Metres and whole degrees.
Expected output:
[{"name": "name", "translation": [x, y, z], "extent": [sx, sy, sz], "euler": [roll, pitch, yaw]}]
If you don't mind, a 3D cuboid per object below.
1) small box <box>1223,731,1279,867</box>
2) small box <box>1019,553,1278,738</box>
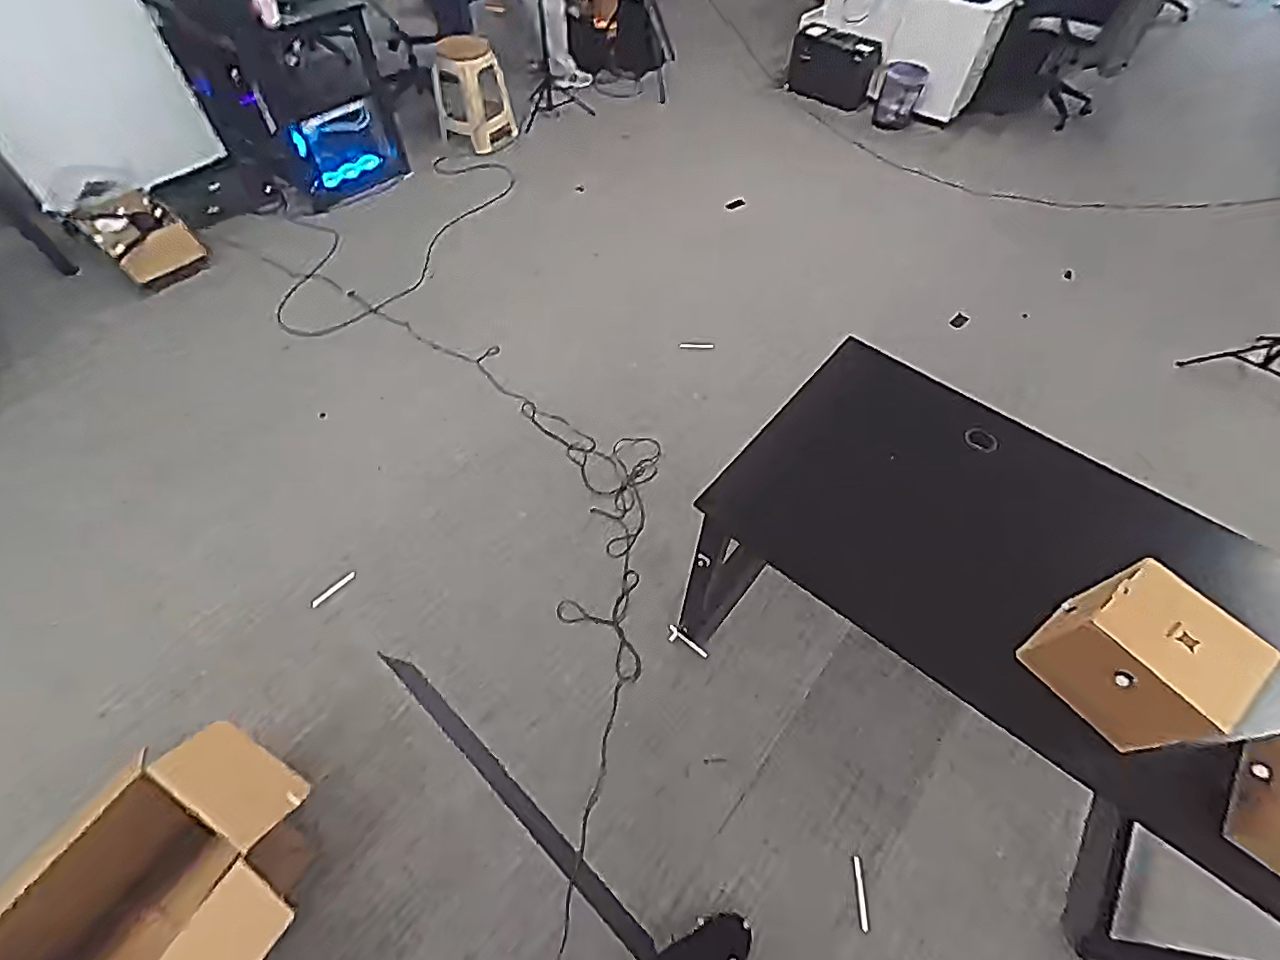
[{"name": "small box", "translation": [0.893, 0.417, 0.655], "extent": [0.179, 0.176, 0.168], "euler": [37, 62, 23]}, {"name": "small box", "translation": [0.706, 0.243, 0.772], "extent": [0.168, 0.176, 0.179], "euler": [-31, 61, -21]}]
